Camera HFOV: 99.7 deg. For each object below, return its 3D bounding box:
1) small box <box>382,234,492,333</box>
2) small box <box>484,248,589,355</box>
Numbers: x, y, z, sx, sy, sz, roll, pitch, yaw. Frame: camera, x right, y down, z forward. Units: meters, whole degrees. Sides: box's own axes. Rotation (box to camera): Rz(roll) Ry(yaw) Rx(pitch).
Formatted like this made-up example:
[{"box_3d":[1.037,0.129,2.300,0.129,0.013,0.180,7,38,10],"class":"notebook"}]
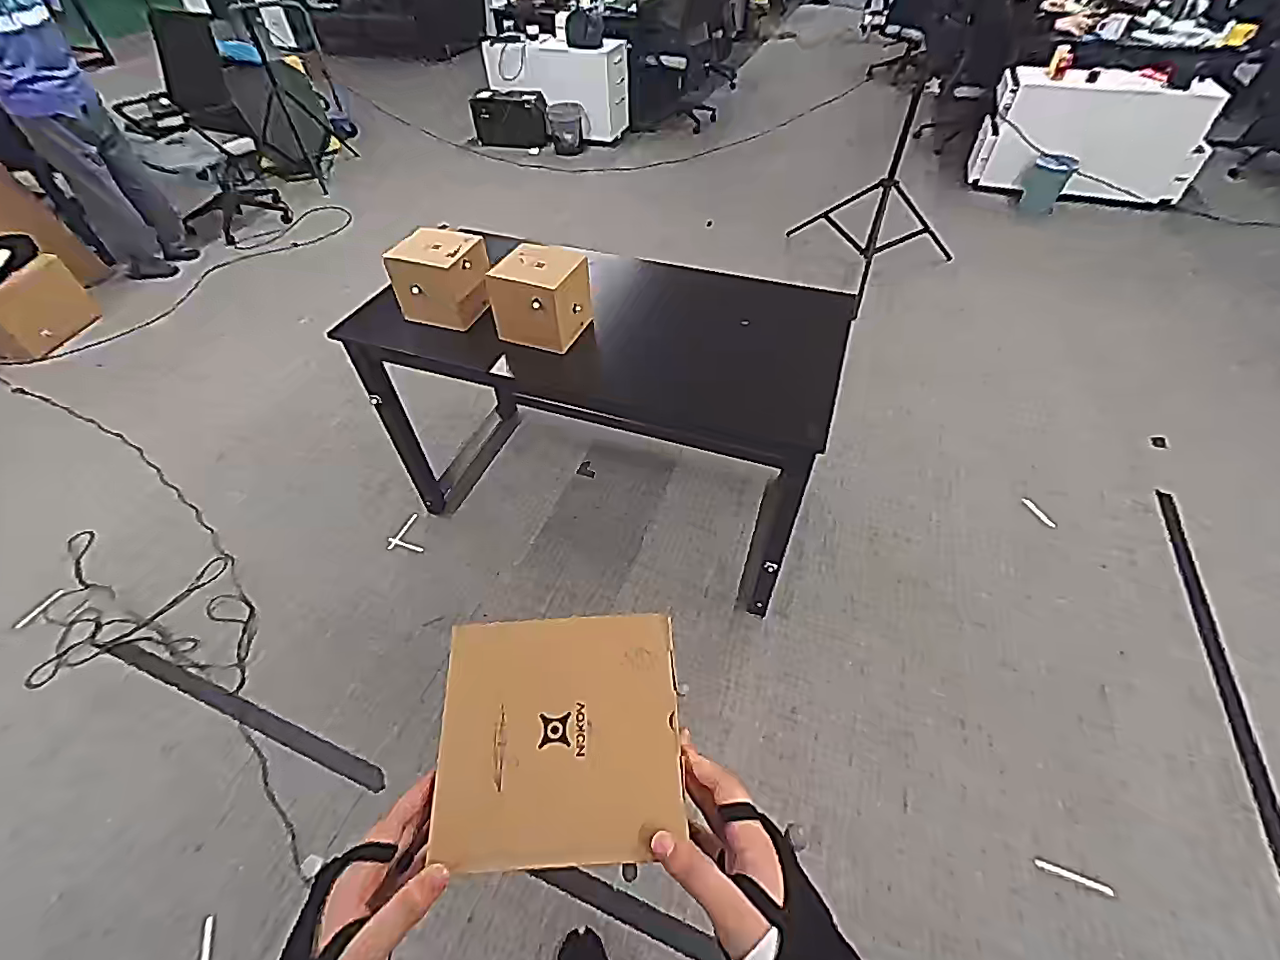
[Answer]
[{"box_3d":[-0.488,-0.484,1.336,0.179,0.176,0.168,13,50,13],"class":"small box"},{"box_3d":[-0.232,-0.416,1.270,0.179,0.176,0.168,16,50,15],"class":"small box"}]
